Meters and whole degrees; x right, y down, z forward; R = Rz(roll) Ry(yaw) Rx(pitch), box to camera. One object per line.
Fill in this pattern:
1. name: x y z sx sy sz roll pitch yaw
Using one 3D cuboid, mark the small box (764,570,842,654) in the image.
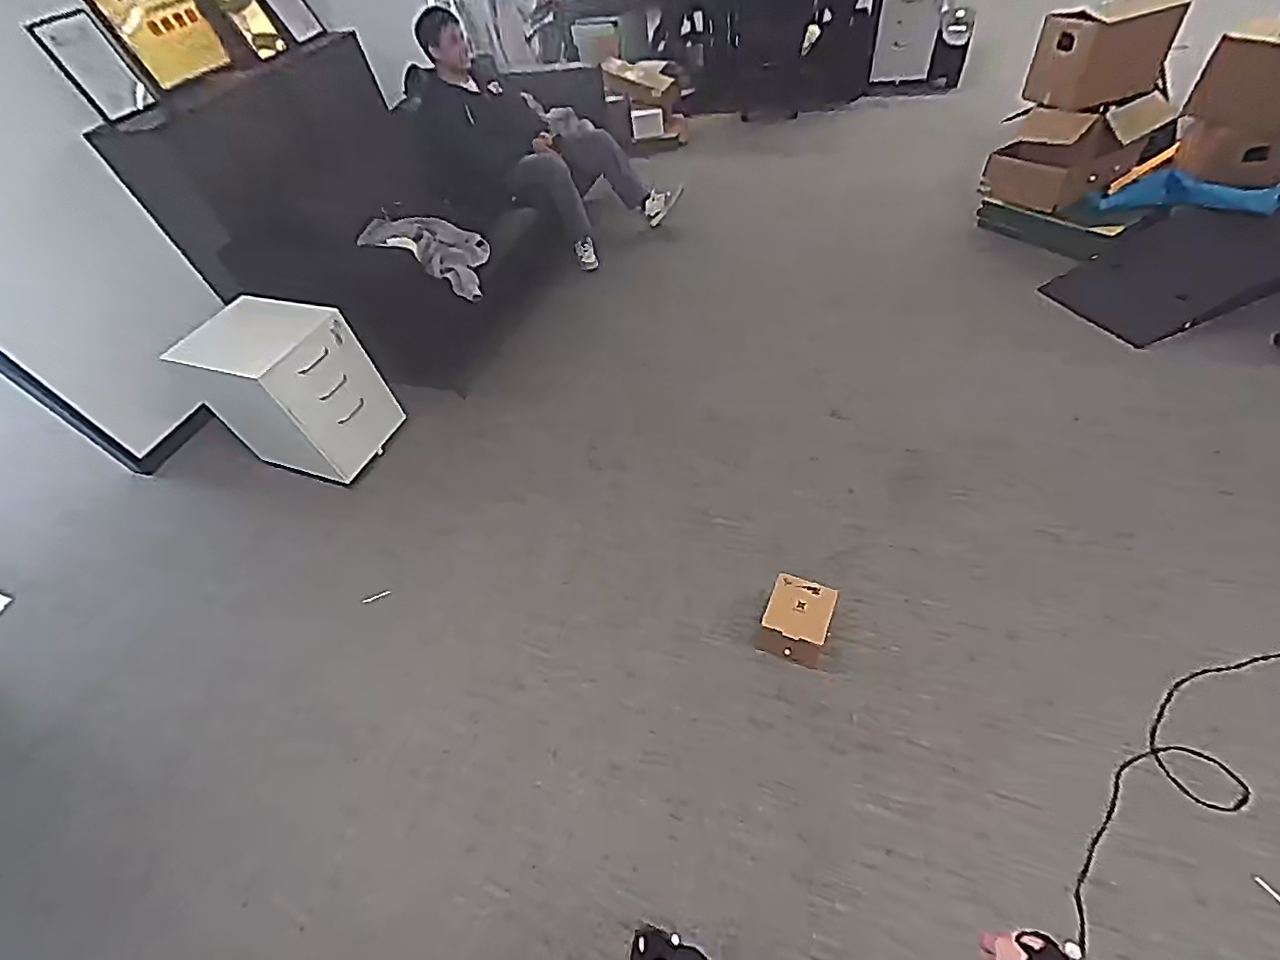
1. small box: 0.457 0.379 1.534 0.179 0.176 0.168 -9 48 6
